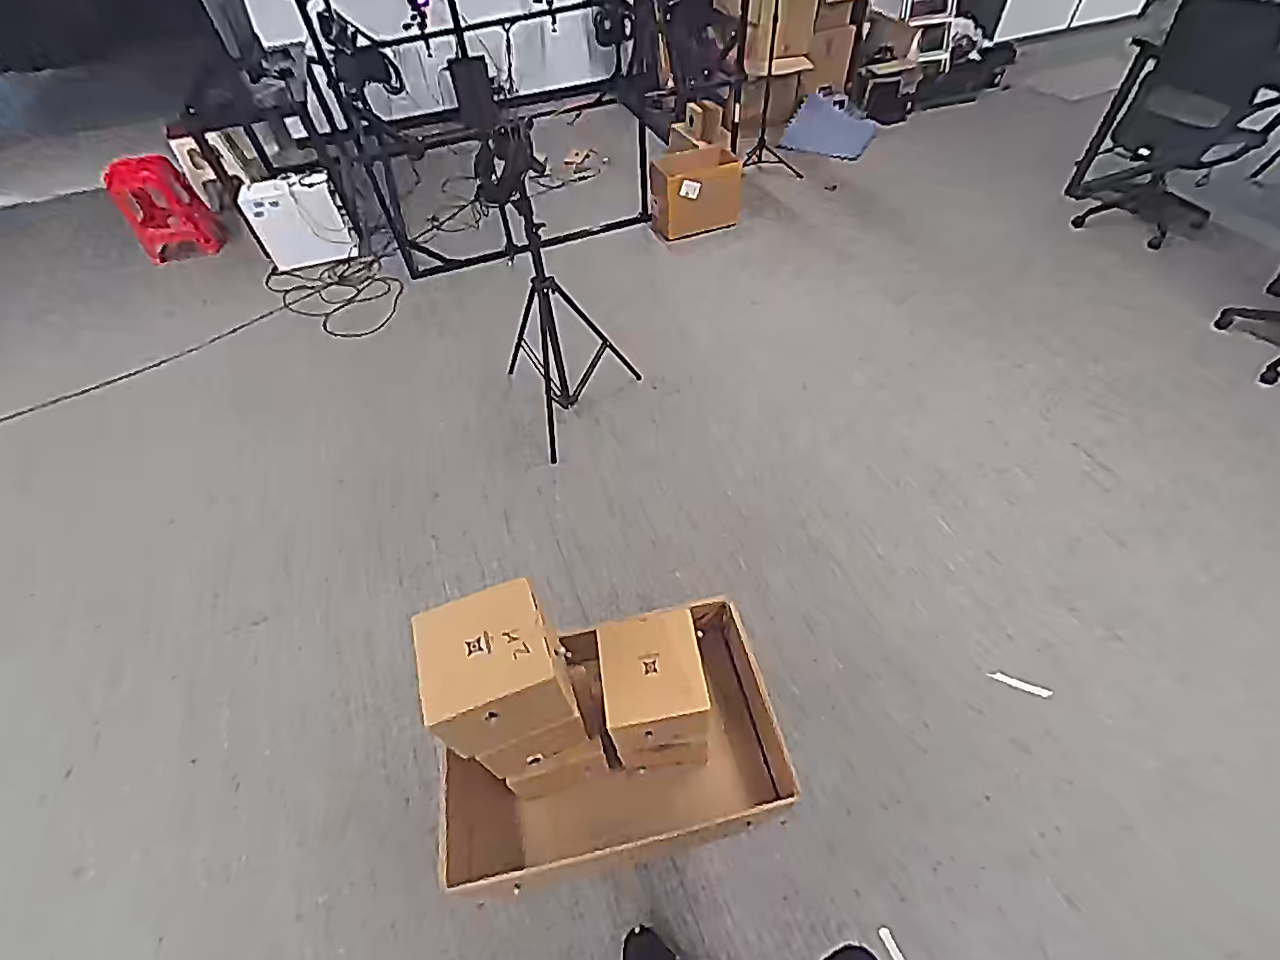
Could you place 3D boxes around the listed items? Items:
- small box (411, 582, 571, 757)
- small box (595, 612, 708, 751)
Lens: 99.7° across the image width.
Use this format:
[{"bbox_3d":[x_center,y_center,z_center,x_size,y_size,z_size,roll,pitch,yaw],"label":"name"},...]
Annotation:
[{"bbox_3d":[-0.216,0.285,0.805,0.179,0.176,0.168,-18,52,-11],"label":"small box"},{"bbox_3d":[0.023,0.357,0.941,0.168,0.176,0.179,-10,50,-2],"label":"small box"}]
